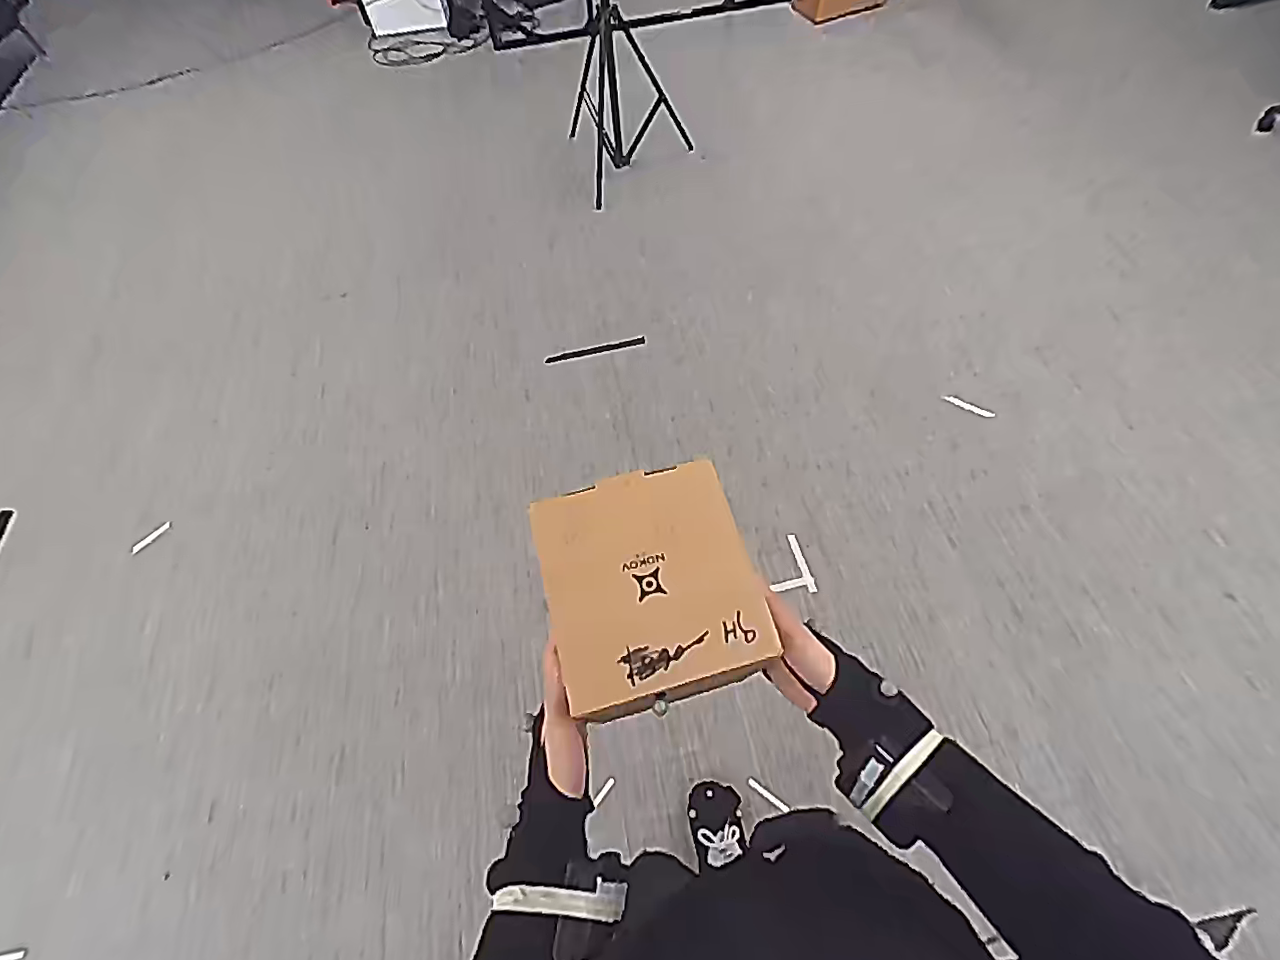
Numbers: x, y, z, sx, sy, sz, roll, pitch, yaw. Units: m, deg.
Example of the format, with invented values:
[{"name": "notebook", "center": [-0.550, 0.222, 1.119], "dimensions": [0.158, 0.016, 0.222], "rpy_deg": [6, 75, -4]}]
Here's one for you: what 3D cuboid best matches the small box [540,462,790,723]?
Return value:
[{"name": "small box", "center": [0.014, 0.112, 0.503], "dimensions": [0.168, 0.176, 0.179], "rpy_deg": [-14, 64, -6]}]
